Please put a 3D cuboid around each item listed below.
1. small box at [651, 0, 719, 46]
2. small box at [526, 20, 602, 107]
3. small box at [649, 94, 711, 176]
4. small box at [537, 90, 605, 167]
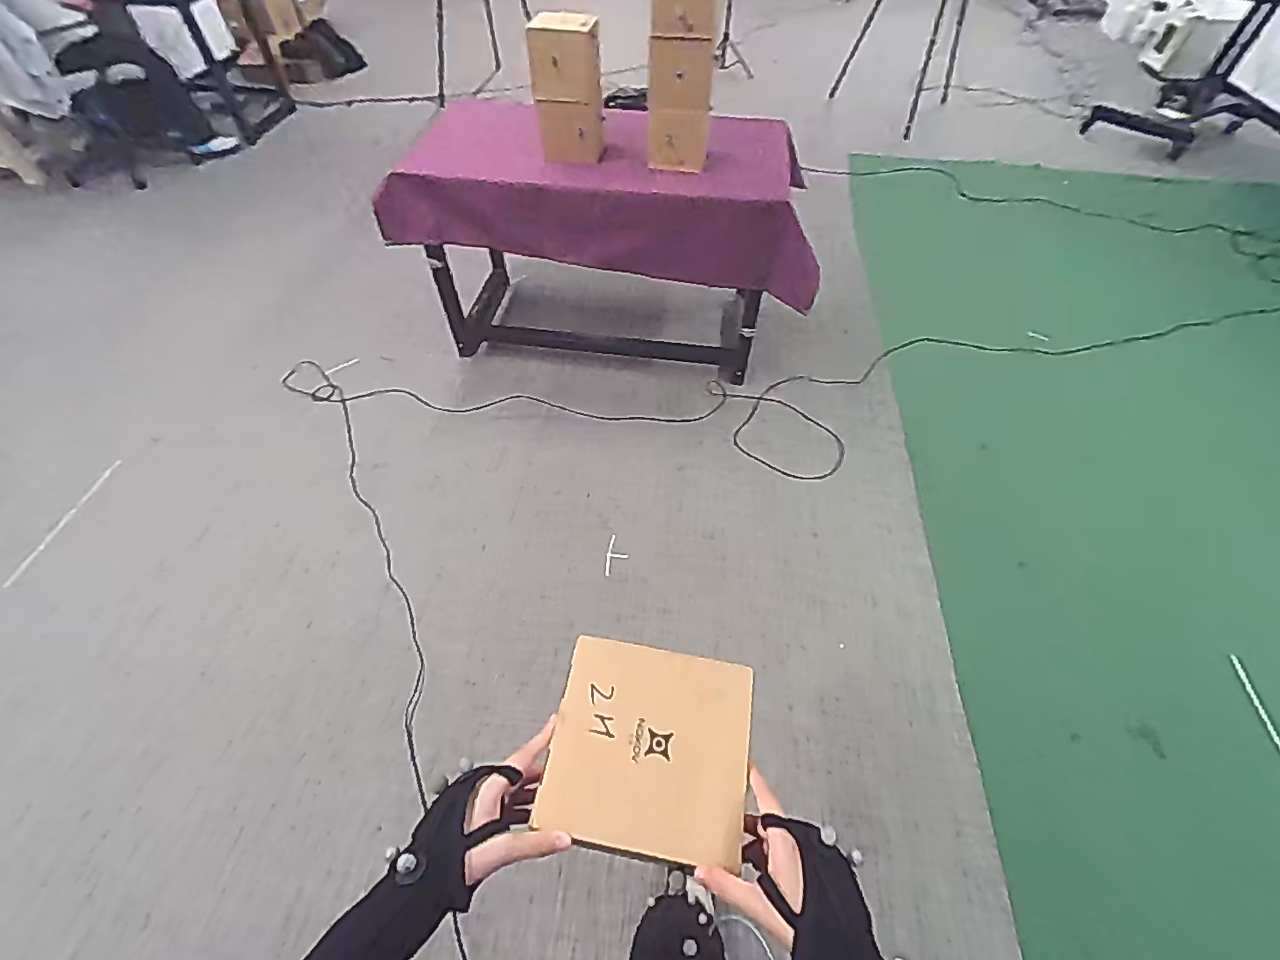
[{"bbox_3d":[0.122,-1.262,1.408,0.168,0.176,0.179,7,53,6],"label":"small box"},{"bbox_3d":[-0.212,-1.206,1.568,0.179,0.176,0.168,7,52,5],"label":"small box"},{"bbox_3d":[0.122,-1.063,1.670,0.168,0.176,0.179,8,52,6],"label":"small box"},{"bbox_3d":[-0.209,-1.106,1.699,0.179,0.176,0.168,7,52,5],"label":"small box"}]
